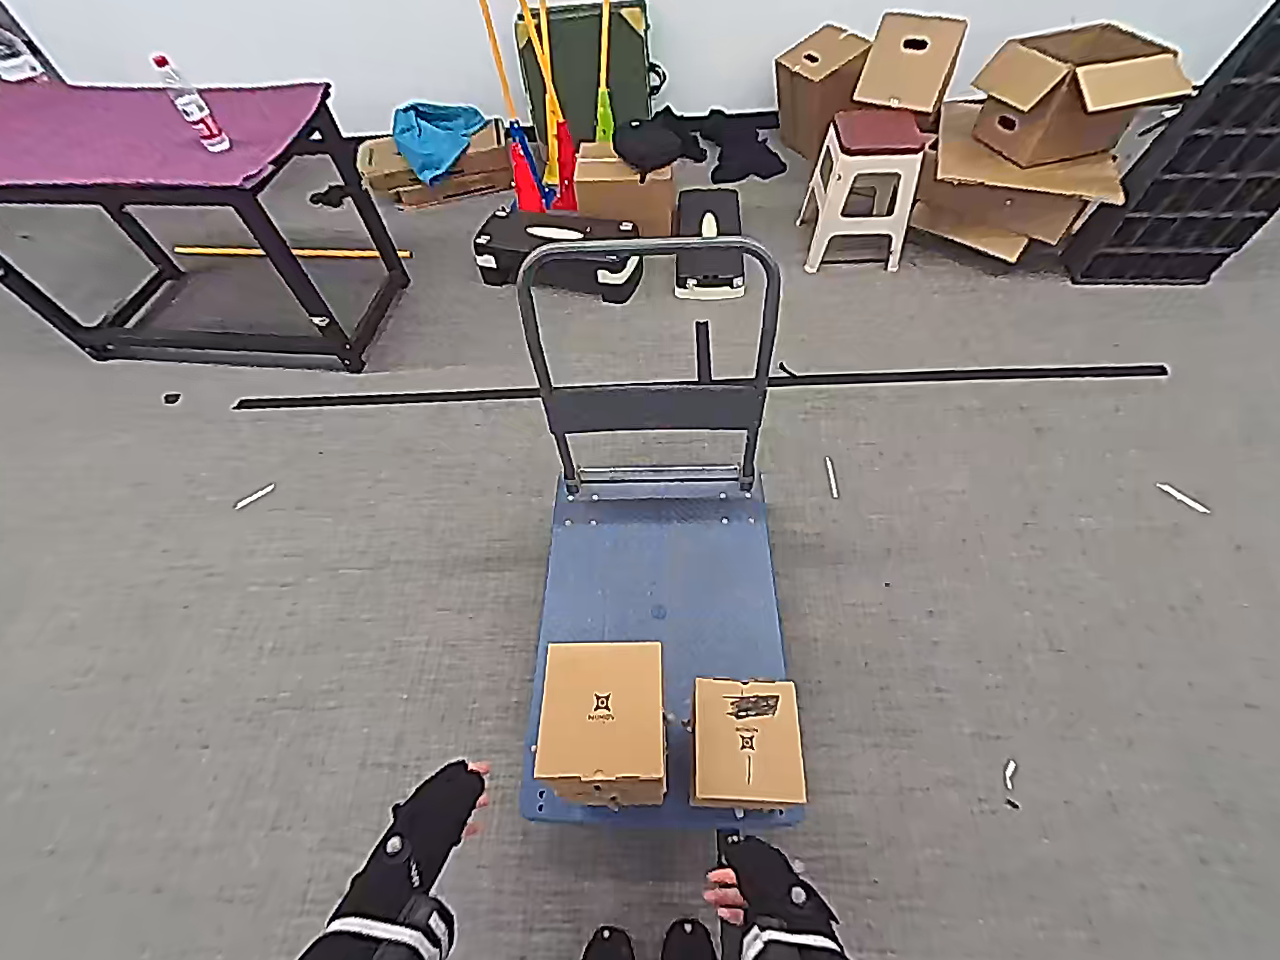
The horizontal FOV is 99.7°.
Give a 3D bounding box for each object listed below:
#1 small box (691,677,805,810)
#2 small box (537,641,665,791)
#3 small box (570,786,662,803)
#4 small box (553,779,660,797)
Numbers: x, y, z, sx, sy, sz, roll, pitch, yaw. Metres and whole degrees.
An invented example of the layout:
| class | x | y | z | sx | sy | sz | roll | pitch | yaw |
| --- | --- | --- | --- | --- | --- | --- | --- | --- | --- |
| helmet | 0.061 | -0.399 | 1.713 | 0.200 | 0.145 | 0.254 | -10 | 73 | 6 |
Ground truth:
| class | x | y | z | sx | sy | sz | roll | pitch | yaw |
| --- | --- | --- | --- | --- | --- | --- | --- | --- | --- |
| small box | 0.172 | 0.449 | 0.917 | 0.168 | 0.176 | 0.179 | 1 | 57 | 4 |
| small box | -0.047 | 0.350 | 0.799 | 0.168 | 0.176 | 0.179 | -1 | 56 | 2 |
| small box | -0.040 | 0.535 | 1.070 | 0.168 | 0.176 | 0.179 | -1 | 56 | 2 |
| small box | -0.049 | 0.444 | 0.932 | 0.168 | 0.176 | 0.179 | -3 | 57 | 1 |
